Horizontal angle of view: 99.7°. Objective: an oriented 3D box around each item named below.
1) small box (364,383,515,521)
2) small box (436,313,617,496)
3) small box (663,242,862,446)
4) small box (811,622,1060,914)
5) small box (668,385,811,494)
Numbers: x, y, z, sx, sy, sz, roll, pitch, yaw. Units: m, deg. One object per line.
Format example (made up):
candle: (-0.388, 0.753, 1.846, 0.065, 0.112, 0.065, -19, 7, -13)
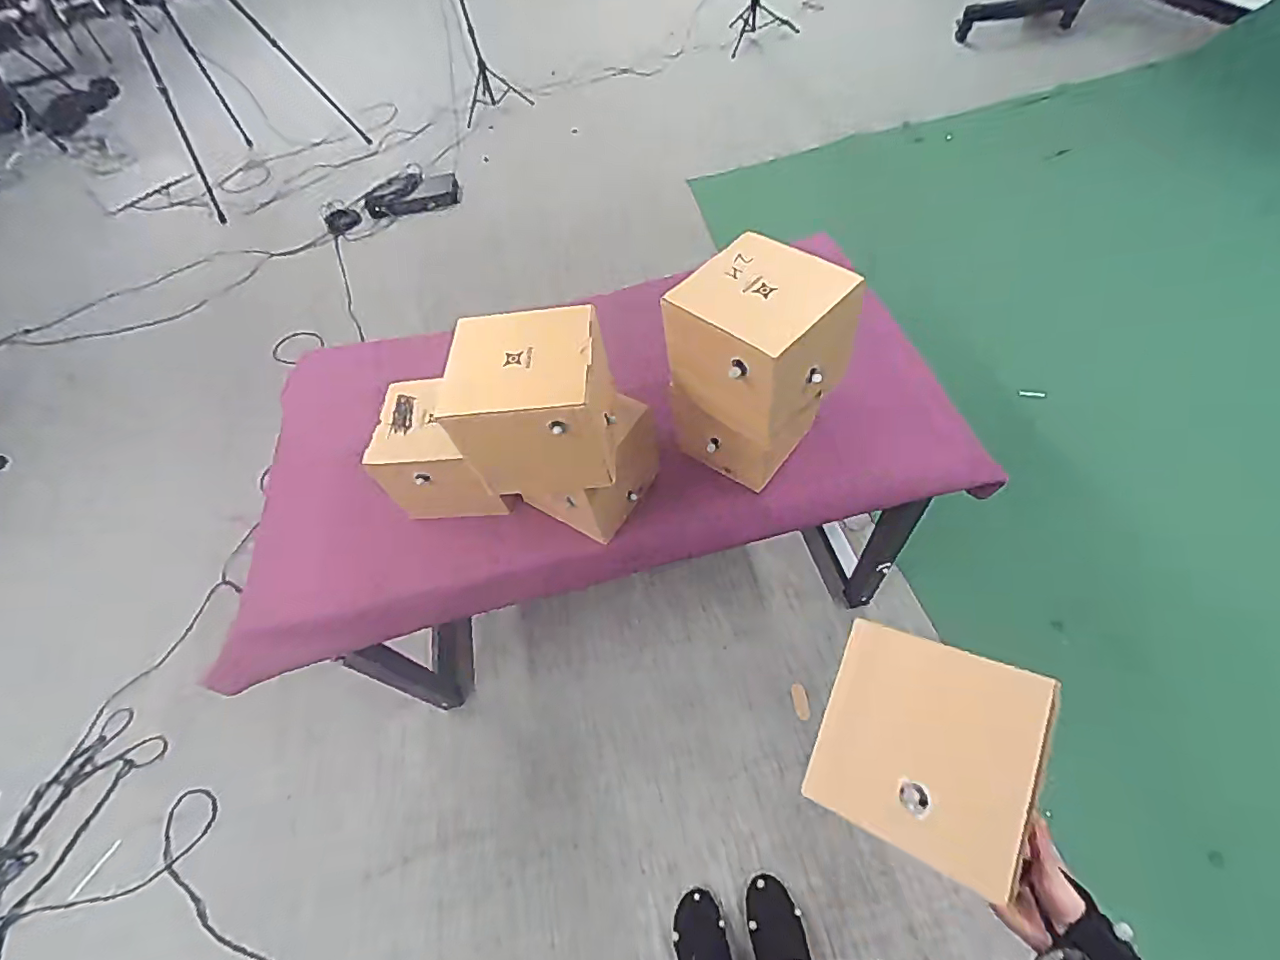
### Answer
small box: (-0.310, -0.042, 0.893, 0.179, 0.176, 0.168, -3, 56, 5)
small box: (-0.131, -0.090, 0.701, 0.179, 0.176, 0.168, -4, 56, 5)
small box: (0.154, -0.171, 0.709, 0.168, 0.176, 0.179, -41, 58, -18)
small box: (0.283, 0.263, 0.522, 0.176, 0.168, 0.179, 12, 71, 41)
small box: (0.168, -0.109, 0.867, 0.168, 0.176, 0.179, 31, 66, 26)
